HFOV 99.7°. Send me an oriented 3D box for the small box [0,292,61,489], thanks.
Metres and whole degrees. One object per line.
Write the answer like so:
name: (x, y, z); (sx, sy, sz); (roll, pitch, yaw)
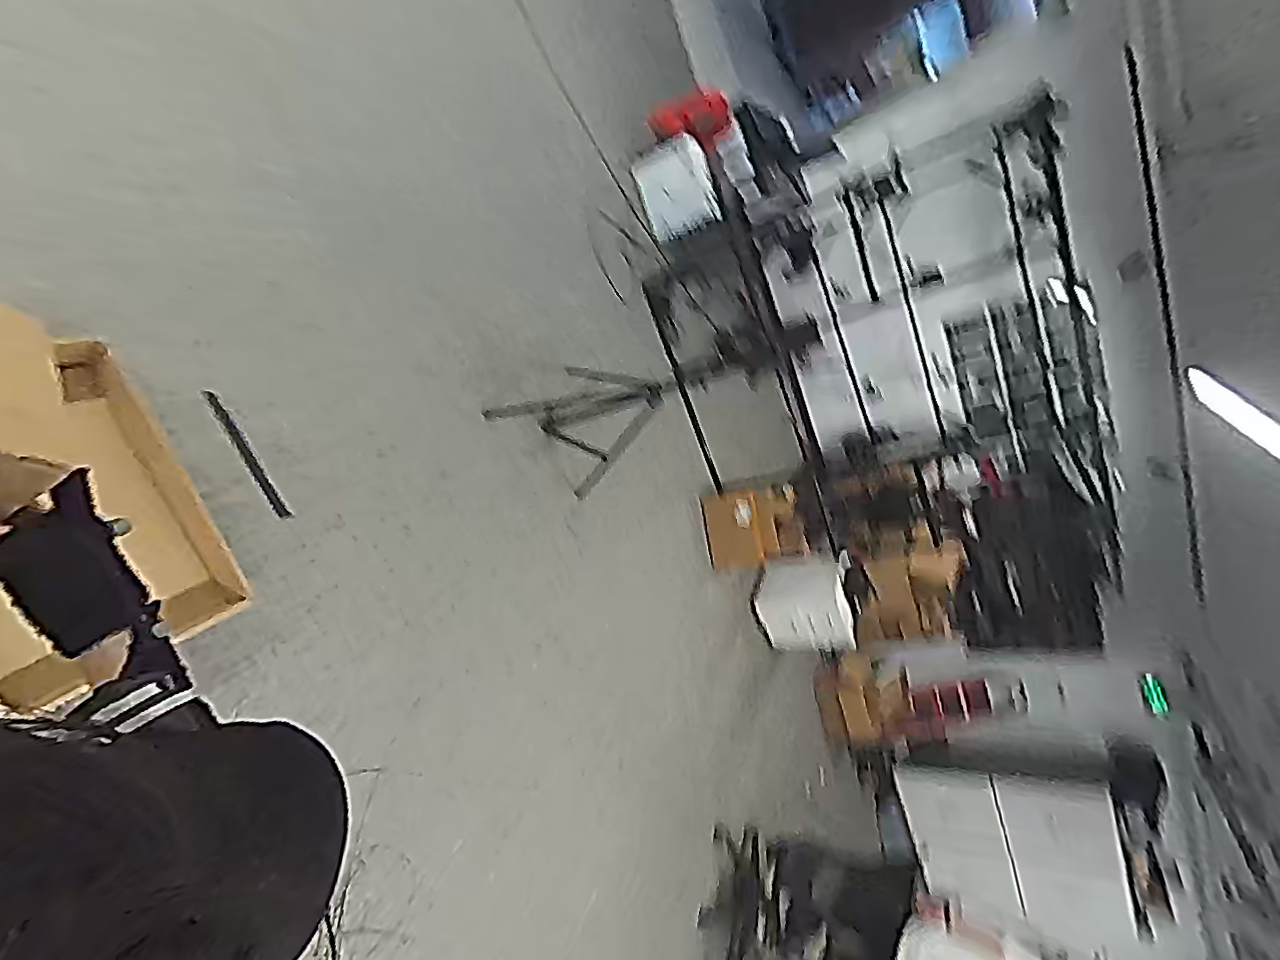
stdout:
small box: (-0.545, -0.054, 0.345); (0.179, 0.176, 0.168); (55, -1, 21)
